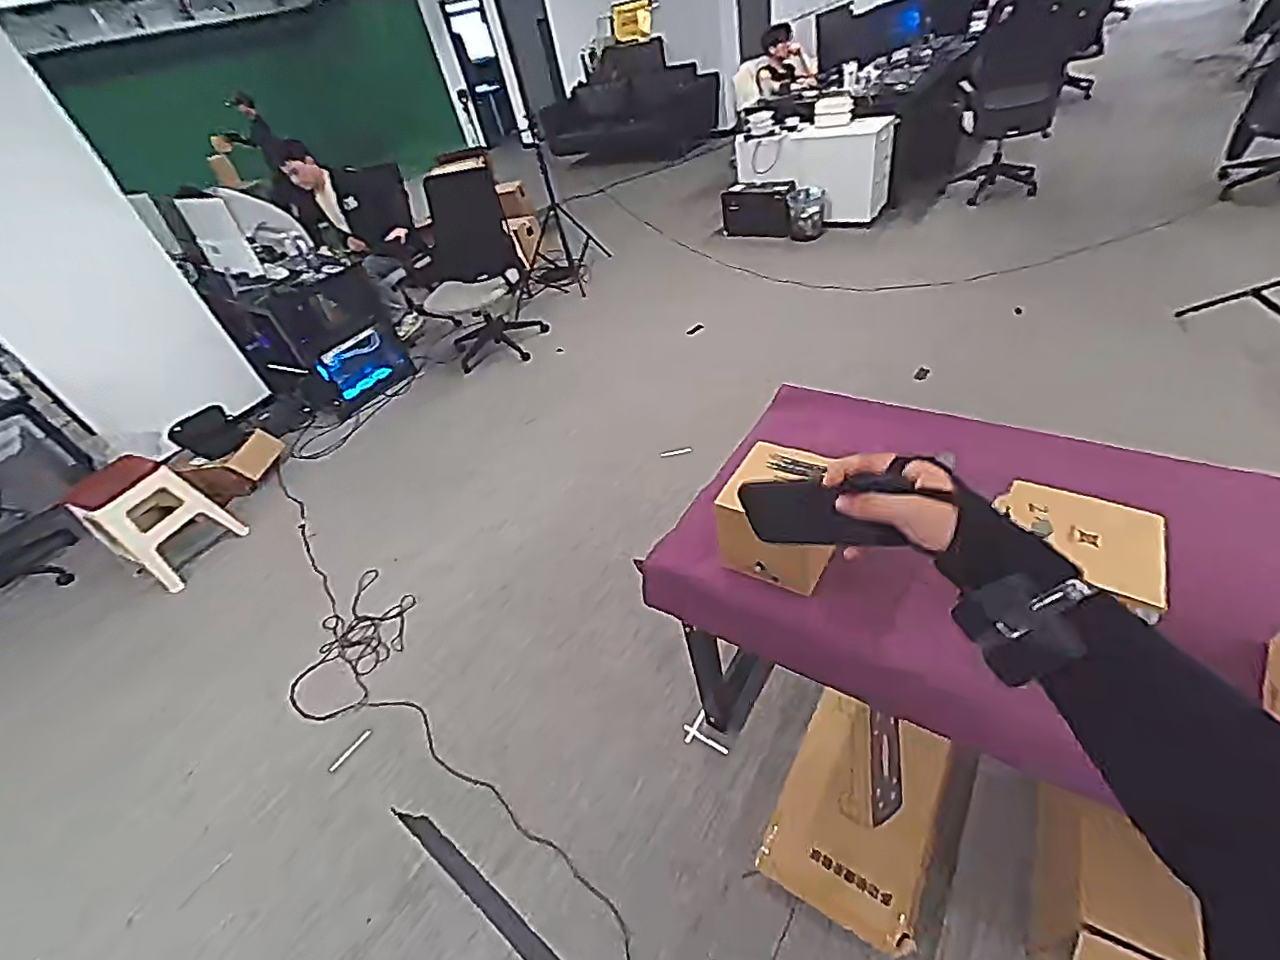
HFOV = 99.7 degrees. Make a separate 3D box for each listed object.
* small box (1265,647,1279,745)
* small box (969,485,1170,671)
[{"bbox_3d":[0.838,0.233,0.580,0.179,0.176,0.168,24,53,35],"label":"small box"},{"bbox_3d":[0.591,0.138,0.757,0.179,0.176,0.168,17,47,31],"label":"small box"}]
